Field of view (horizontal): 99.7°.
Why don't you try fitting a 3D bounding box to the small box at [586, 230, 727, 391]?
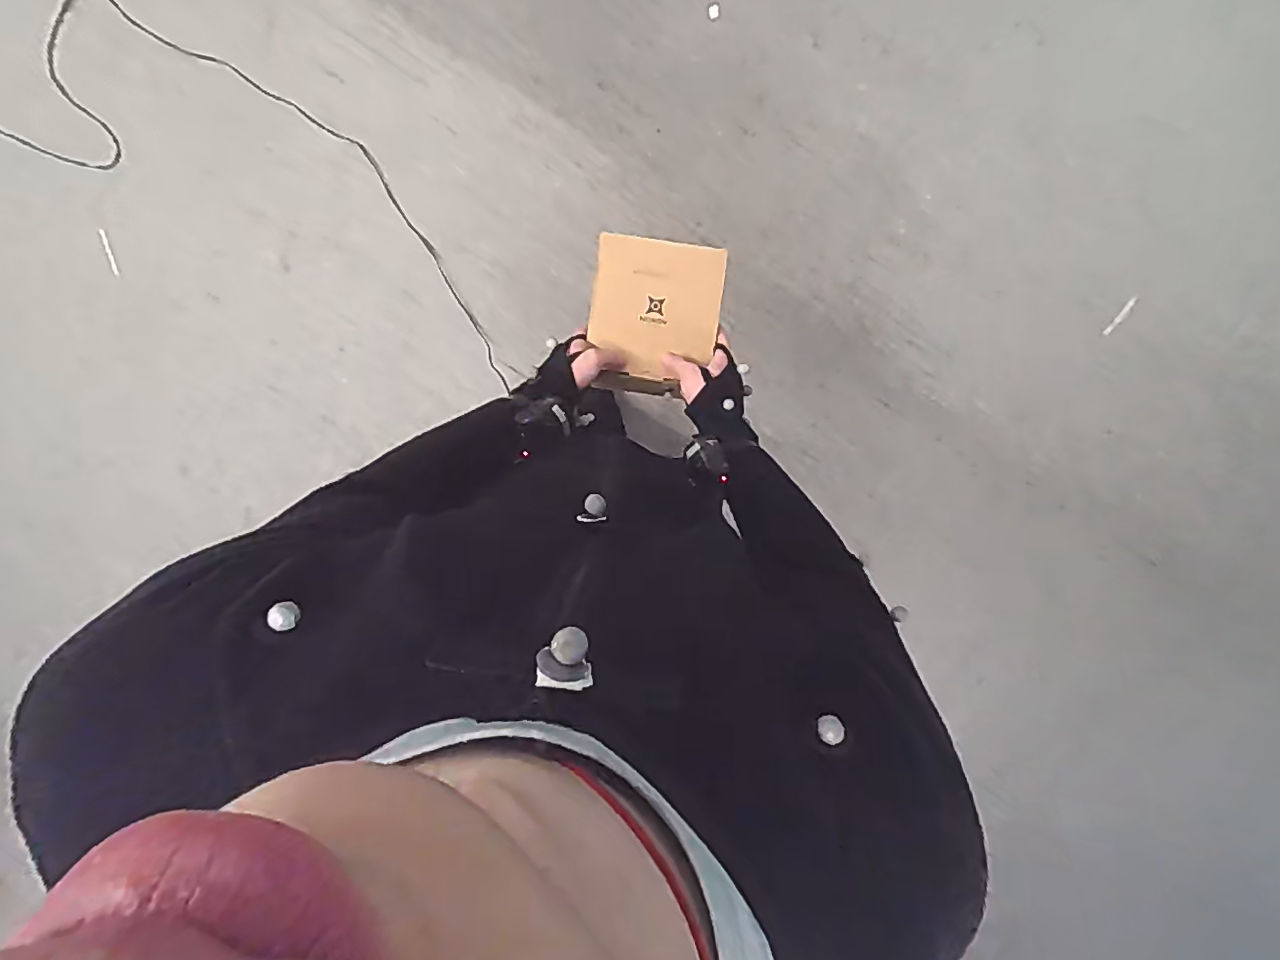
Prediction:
[{"bbox_3d":[0.020,-0.228,0.776,0.168,0.176,0.179,7,92,-2],"label":"small box"}]
